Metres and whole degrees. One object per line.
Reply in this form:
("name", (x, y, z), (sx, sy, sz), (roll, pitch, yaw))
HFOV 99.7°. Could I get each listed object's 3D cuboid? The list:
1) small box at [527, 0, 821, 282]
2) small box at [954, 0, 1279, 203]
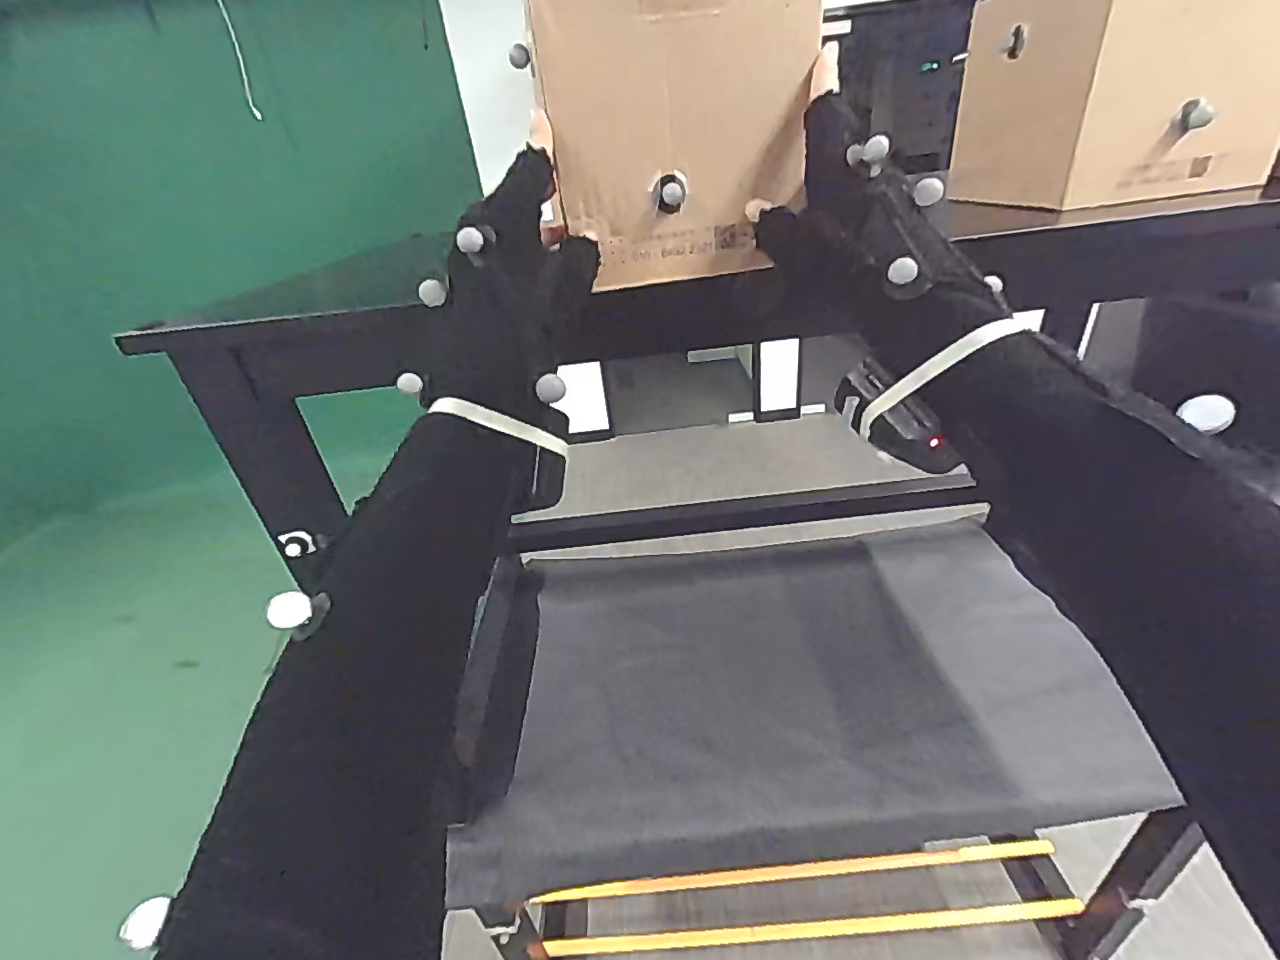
("small box", (0.015, -0.251, 0.399), (0.168, 0.176, 0.179), (-11, 31, -5))
("small box", (0.404, -0.340, 0.465), (0.168, 0.176, 0.179), (-7, 30, 1))
